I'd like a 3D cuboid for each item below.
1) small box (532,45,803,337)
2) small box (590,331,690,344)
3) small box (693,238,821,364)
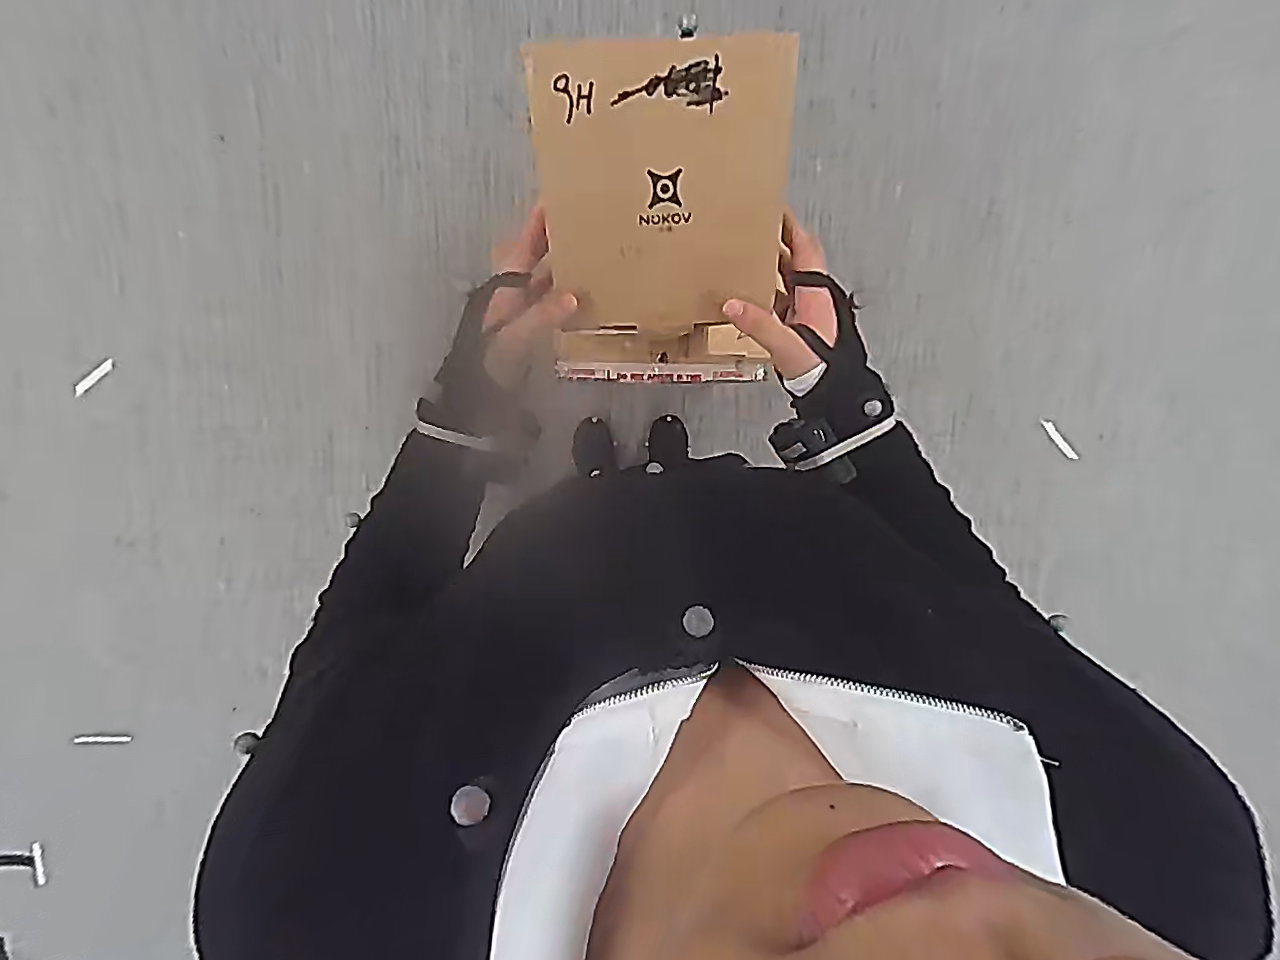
[{"bbox_3d":[0.020,-0.234,0.436,0.168,0.176,0.179,-3,128,1],"label":"small box"},{"bbox_3d":[-0.008,-0.317,0.878,0.168,0.176,0.179,-1,102,-1],"label":"small box"},{"bbox_3d":[0.183,-0.286,0.894,0.168,0.176,0.179,0,100,-4],"label":"small box"}]
